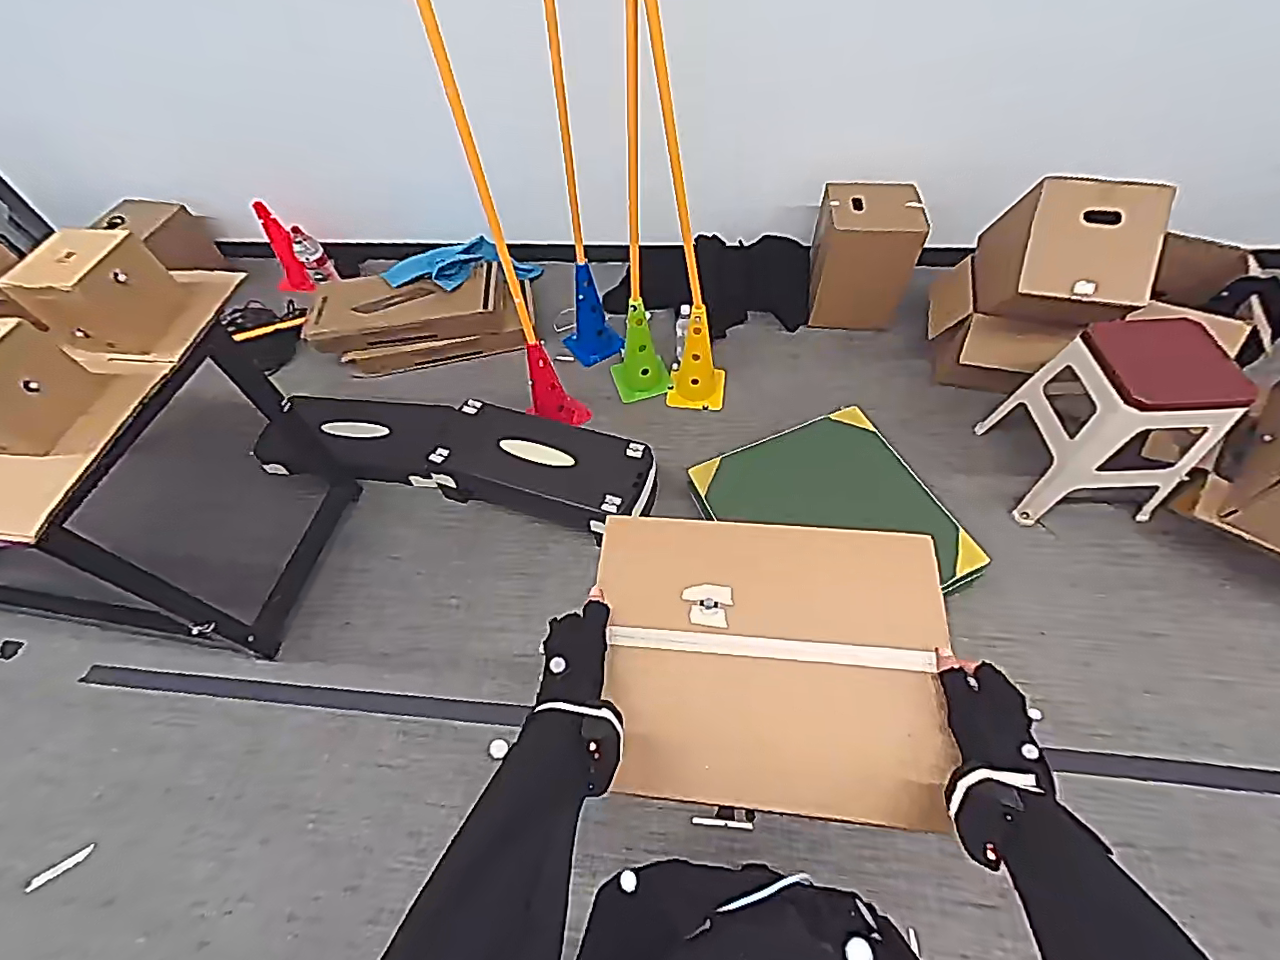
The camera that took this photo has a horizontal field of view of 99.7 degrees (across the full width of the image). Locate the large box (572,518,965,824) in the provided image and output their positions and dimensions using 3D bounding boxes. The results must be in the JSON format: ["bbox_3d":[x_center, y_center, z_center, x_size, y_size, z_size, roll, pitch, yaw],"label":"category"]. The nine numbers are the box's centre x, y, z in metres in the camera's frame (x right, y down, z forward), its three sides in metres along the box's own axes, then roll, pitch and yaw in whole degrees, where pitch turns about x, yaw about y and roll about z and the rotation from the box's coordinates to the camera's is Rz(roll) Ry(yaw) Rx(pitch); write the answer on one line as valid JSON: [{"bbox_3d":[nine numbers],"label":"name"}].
[{"bbox_3d":[0.154,0.262,0.751,0.408,0.320,0.320,3,61,8],"label":"large box"}]
